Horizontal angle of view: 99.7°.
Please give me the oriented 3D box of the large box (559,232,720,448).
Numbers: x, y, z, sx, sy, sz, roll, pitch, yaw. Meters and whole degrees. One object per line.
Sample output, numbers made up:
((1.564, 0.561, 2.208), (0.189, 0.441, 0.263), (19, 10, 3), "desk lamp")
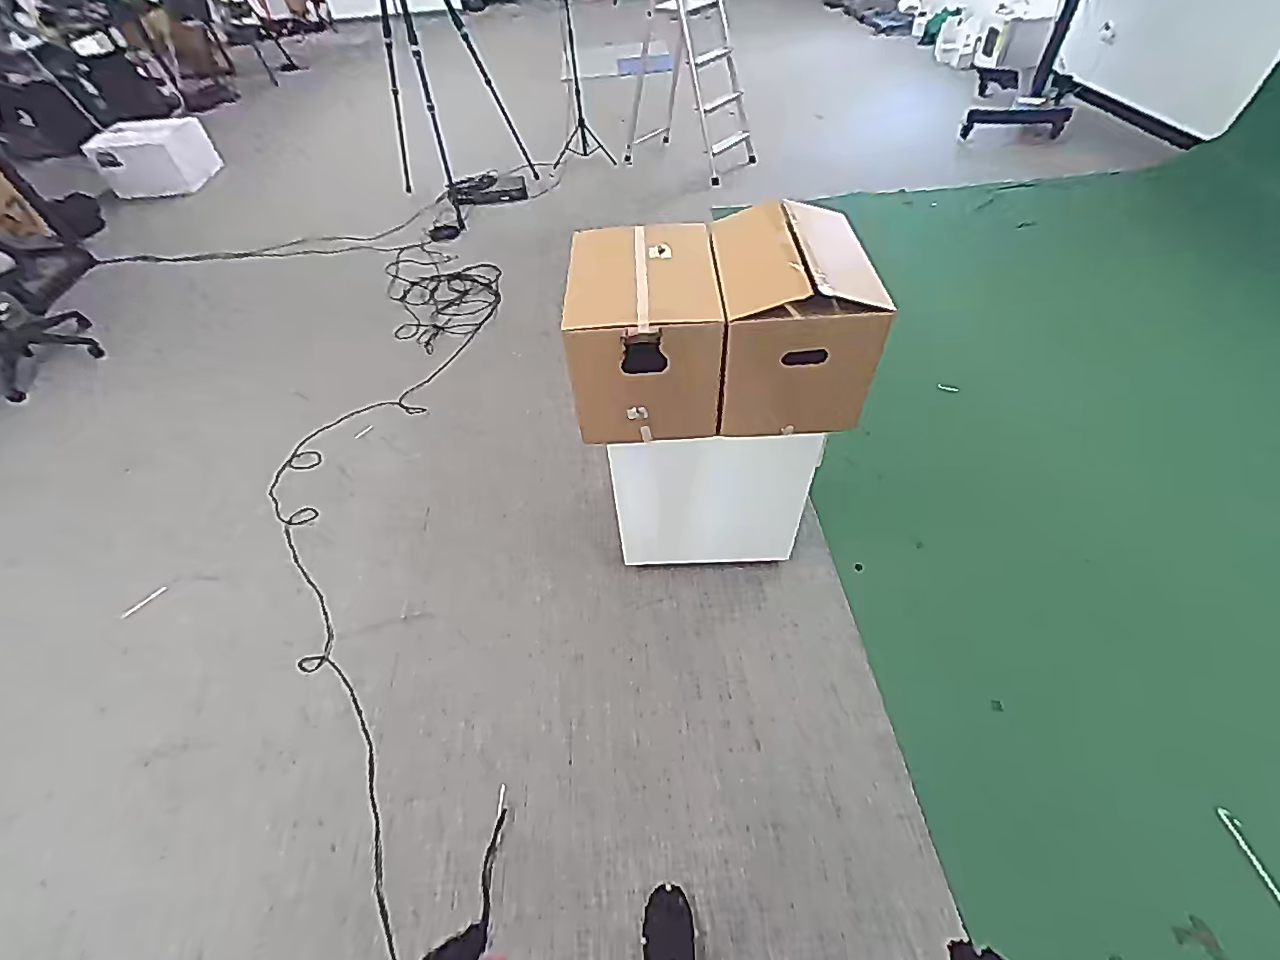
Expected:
((0.003, -0.327, 1.261), (0.320, 0.320, 0.408), (-3, 49, 2), "large box")
